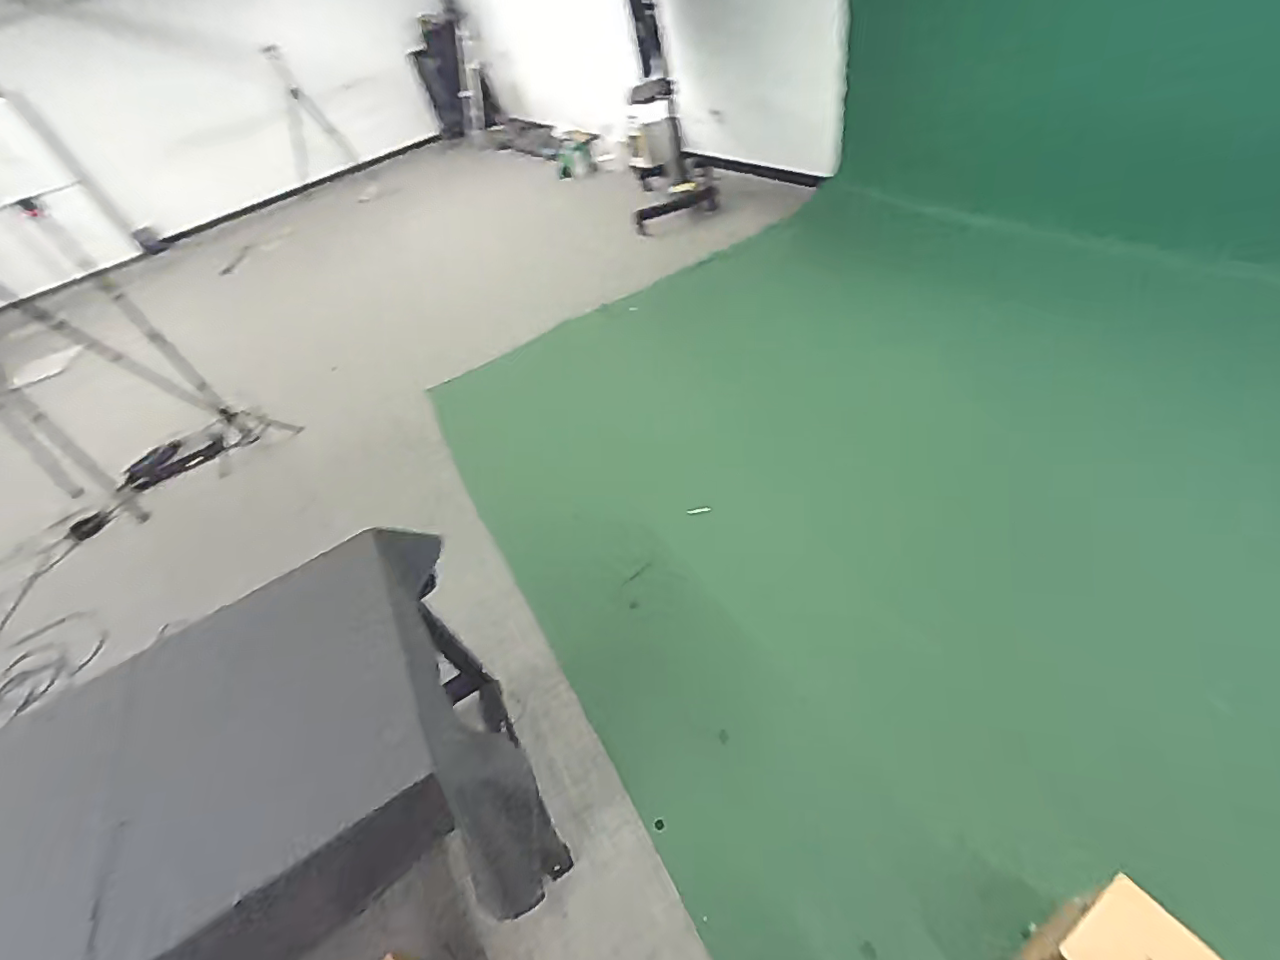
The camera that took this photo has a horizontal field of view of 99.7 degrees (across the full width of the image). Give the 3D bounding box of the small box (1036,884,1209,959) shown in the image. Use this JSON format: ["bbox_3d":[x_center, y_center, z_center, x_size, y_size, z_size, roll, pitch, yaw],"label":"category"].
[{"bbox_3d":[0.744,0.766,0.814,0.168,0.176,0.179,-31,46,-15],"label":"small box"}]

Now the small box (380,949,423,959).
[{"bbox_3d":[-0.503,1.114,1.095,0.168,0.176,0.179,-39,47,-21],"label":"small box"}]

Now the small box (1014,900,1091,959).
[{"bbox_3d":[0.777,0.877,0.929,0.179,0.176,0.168,-32,46,-13],"label":"small box"}]
